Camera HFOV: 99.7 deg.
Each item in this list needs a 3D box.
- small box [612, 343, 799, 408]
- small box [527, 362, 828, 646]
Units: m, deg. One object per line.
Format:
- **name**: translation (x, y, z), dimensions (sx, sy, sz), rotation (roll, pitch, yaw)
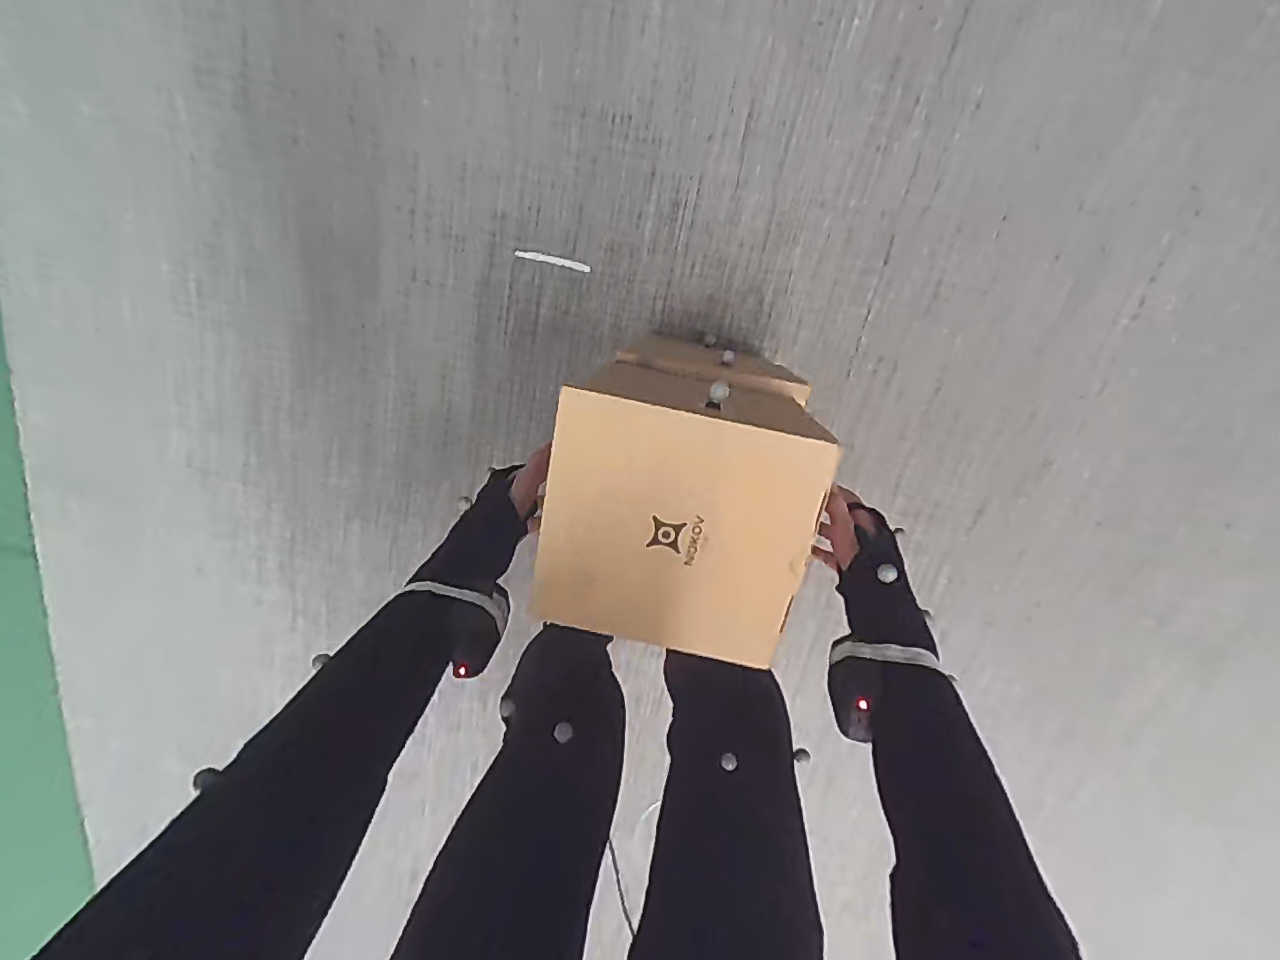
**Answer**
- **small box**: translation (0.055, -0.053, 0.592), dimensions (0.179, 0.176, 0.168), rotation (11, 108, 3)
- **small box**: translation (0.025, 0.003, 0.442), dimensions (0.179, 0.176, 0.168), rotation (12, 108, 0)
